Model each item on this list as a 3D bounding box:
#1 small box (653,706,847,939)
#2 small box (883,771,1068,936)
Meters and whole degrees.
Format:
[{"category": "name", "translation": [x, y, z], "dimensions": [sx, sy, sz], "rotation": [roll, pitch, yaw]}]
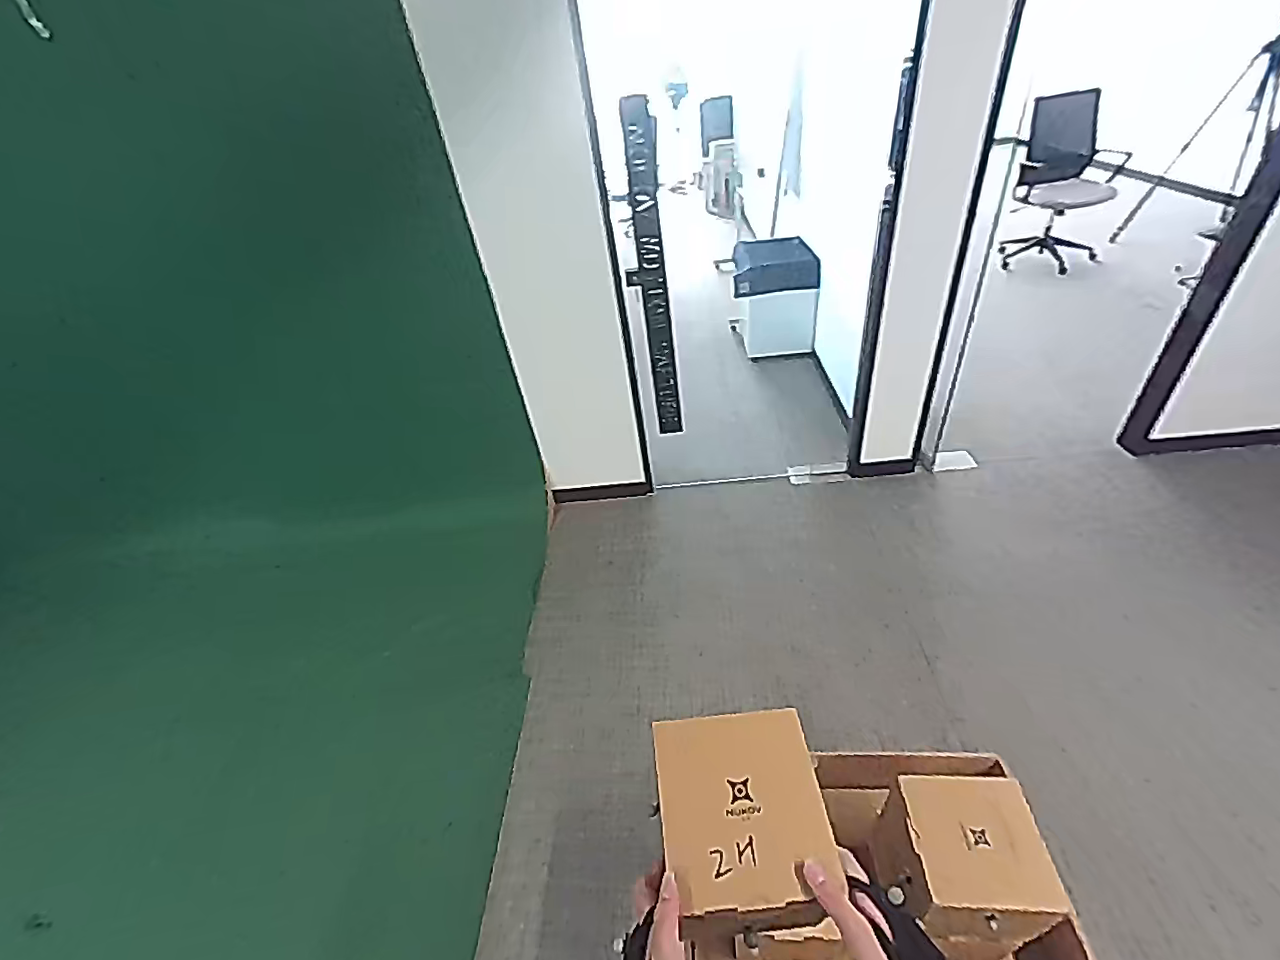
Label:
[{"category": "small box", "translation": [0.102, 0.376, 0.597], "dimensions": [0.168, 0.176, 0.179], "rotation": [-4, 44, -2]}, {"category": "small box", "translation": [0.482, 0.563, 0.816], "dimensions": [0.179, 0.176, 0.168], "rotation": [-1, 40, 7]}]
